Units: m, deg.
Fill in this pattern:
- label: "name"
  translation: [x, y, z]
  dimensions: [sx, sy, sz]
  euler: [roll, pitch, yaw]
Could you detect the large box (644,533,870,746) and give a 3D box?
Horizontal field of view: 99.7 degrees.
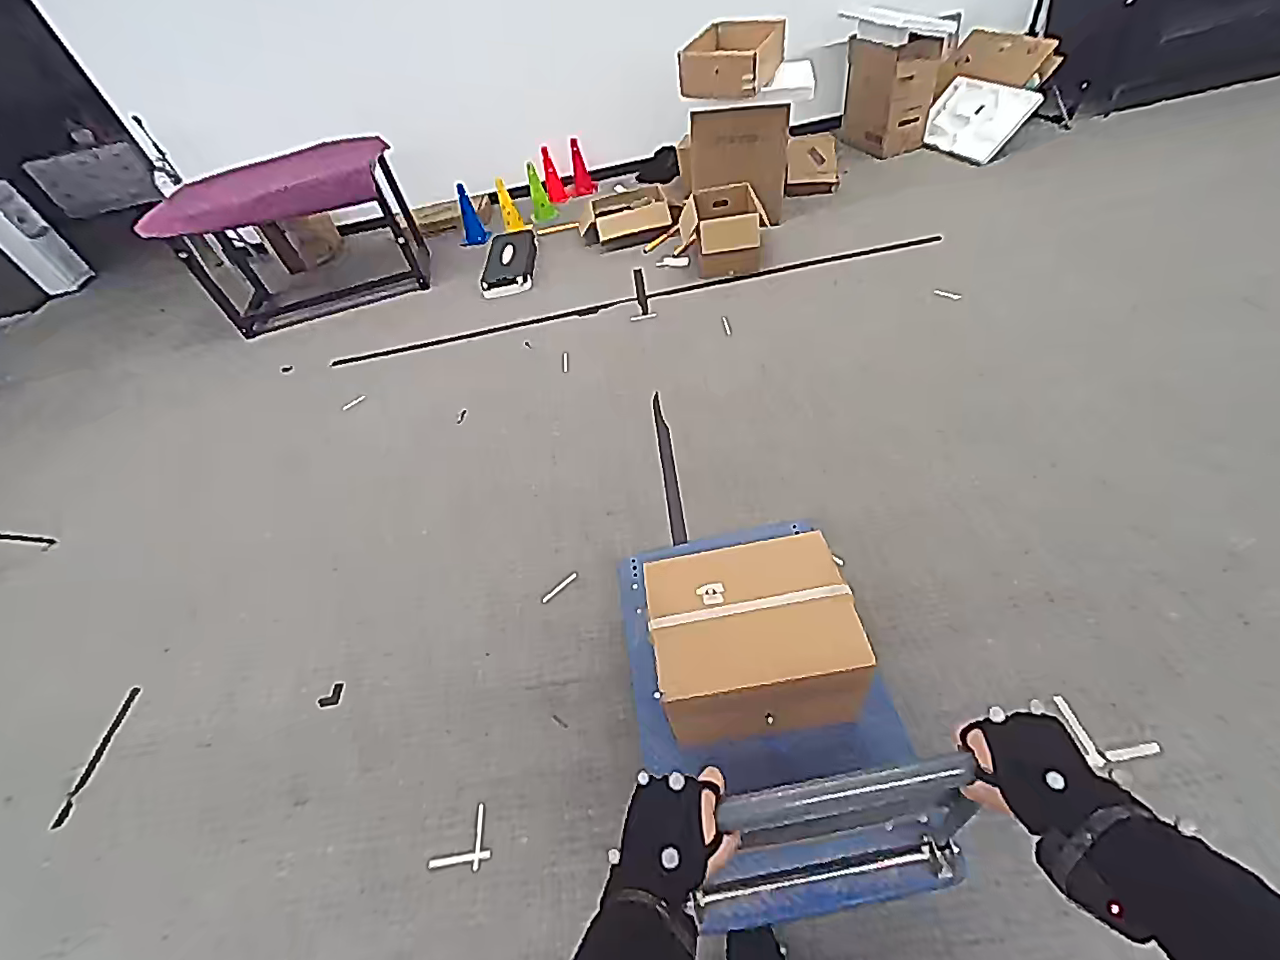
- label: "large box"
  translation: [0.248, 0.367, 1.223]
  dimensions: [0.408, 0.320, 0.320]
  euler: [-12, 46, 3]
